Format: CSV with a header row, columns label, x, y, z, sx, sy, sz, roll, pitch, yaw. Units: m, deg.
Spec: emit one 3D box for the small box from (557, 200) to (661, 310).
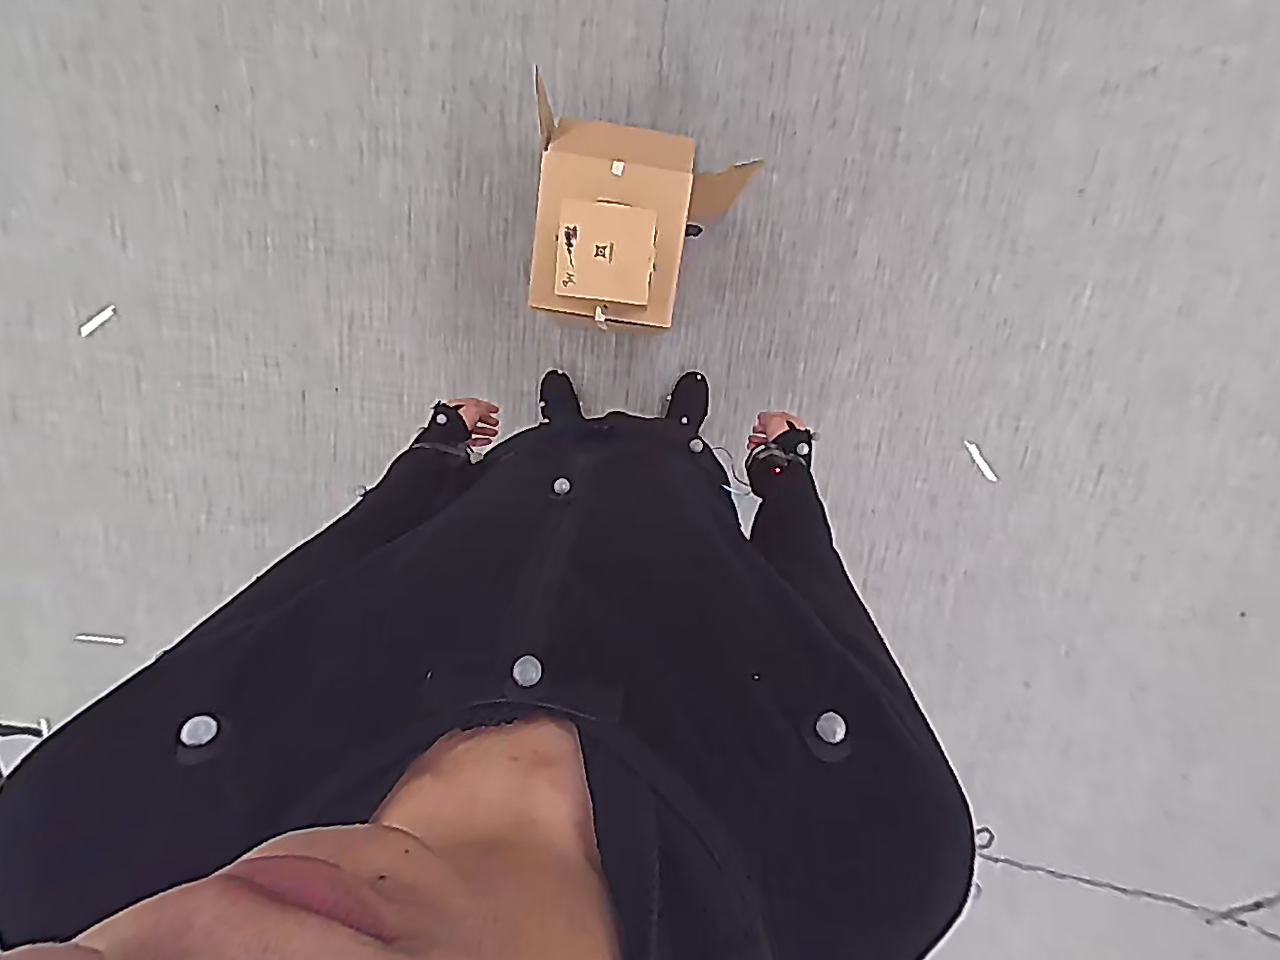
label,x,y,z,sx,sy,sz,roll,pitch,yaw
small box,-0.059,-0.432,1.064,0.179,0.176,0.168,7,104,-2
